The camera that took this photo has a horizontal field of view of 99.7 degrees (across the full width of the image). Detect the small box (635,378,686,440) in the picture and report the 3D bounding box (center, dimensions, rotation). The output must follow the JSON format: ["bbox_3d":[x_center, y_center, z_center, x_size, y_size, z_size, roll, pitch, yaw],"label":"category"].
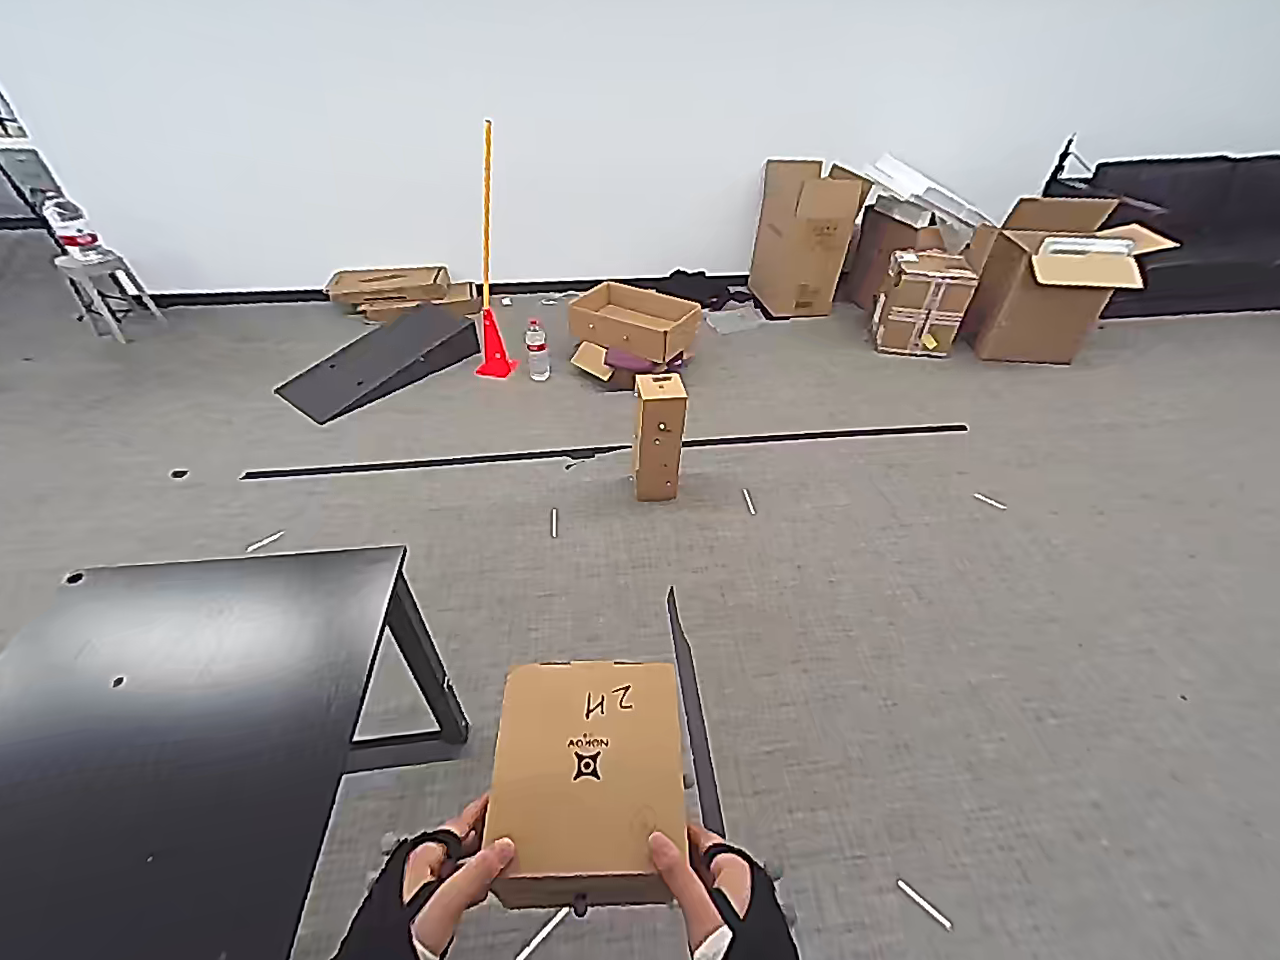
[{"bbox_3d":[0.071,-0.269,2.047,0.168,0.176,0.179,-5,41,-7],"label":"small box"}]

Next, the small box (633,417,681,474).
[{"bbox_3d":[0.064,-0.142,2.153,0.168,0.176,0.179,-5,39,-7],"label":"small box"}]

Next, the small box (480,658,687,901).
[{"bbox_3d":[-0.047,0.297,0.533,0.168,0.176,0.179,-1,45,-3],"label":"small box"}]

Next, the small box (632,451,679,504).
[{"bbox_3d":[0.061,-0.017,2.258,0.179,0.176,0.168,-5,39,-5],"label":"small box"}]
